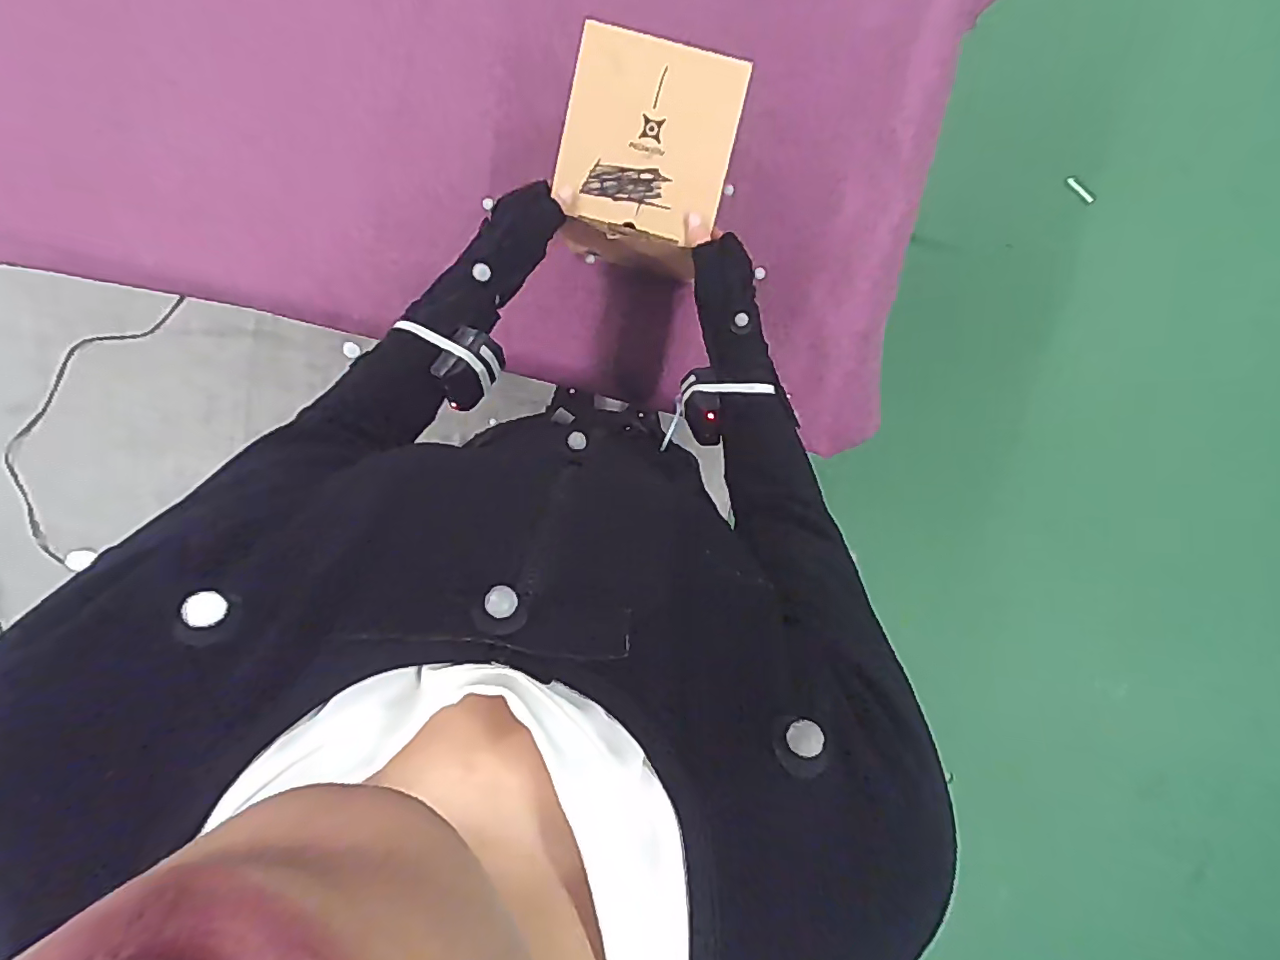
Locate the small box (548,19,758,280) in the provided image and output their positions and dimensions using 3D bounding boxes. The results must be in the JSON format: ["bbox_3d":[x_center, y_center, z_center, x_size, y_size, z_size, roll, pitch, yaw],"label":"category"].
[{"bbox_3d":[0.010,-0.339,0.600,0.168,0.176,0.179,16,100,-5],"label":"small box"}]
